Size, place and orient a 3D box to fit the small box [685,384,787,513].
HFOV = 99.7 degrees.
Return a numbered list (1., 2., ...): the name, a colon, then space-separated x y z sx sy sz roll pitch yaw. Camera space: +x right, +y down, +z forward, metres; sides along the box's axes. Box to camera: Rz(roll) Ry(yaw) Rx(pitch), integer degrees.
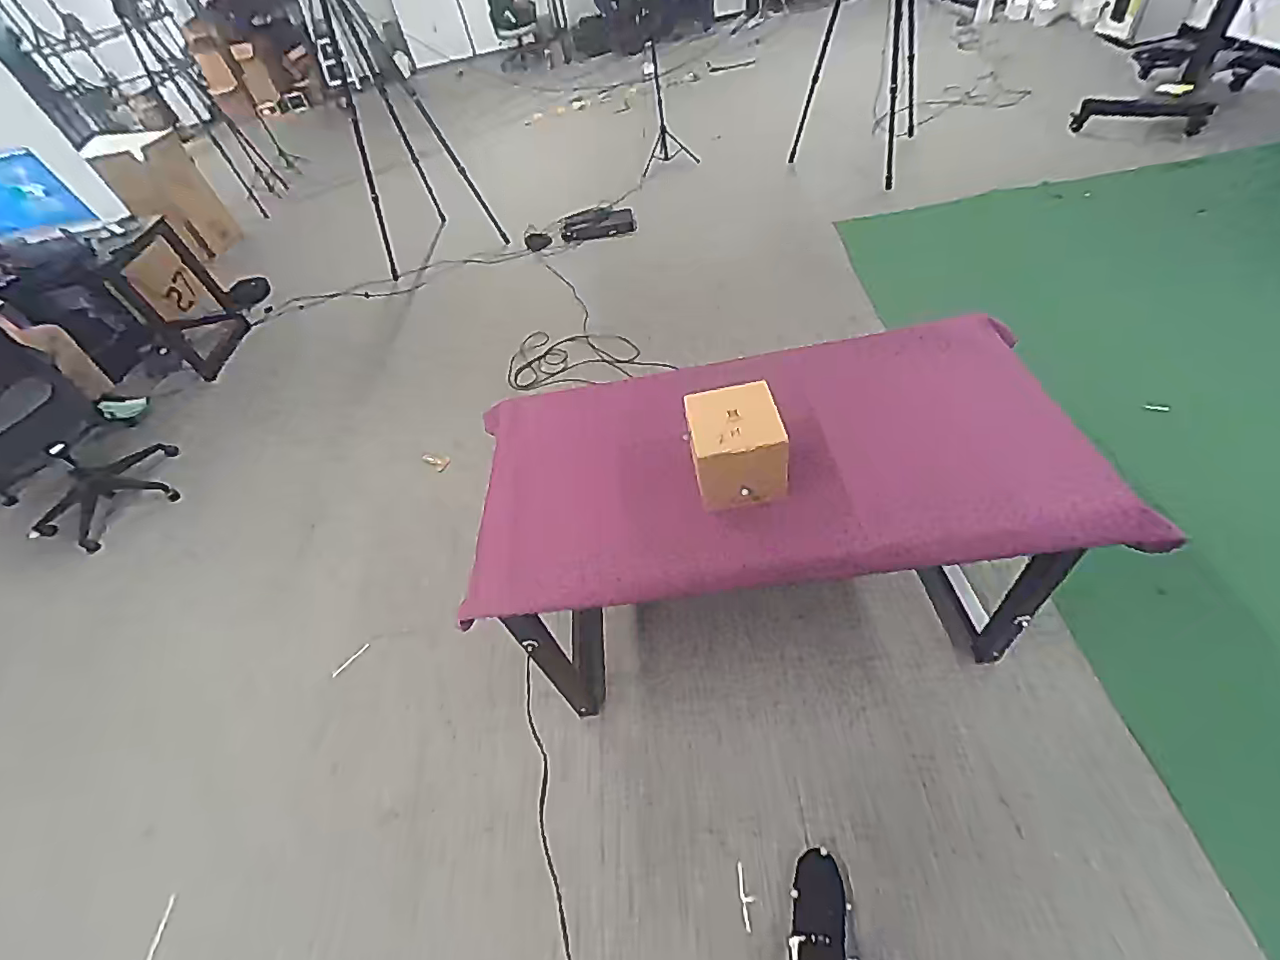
1. small box: 0.187 -0.060 1.070 0.168 0.176 0.179 -11 48 5
